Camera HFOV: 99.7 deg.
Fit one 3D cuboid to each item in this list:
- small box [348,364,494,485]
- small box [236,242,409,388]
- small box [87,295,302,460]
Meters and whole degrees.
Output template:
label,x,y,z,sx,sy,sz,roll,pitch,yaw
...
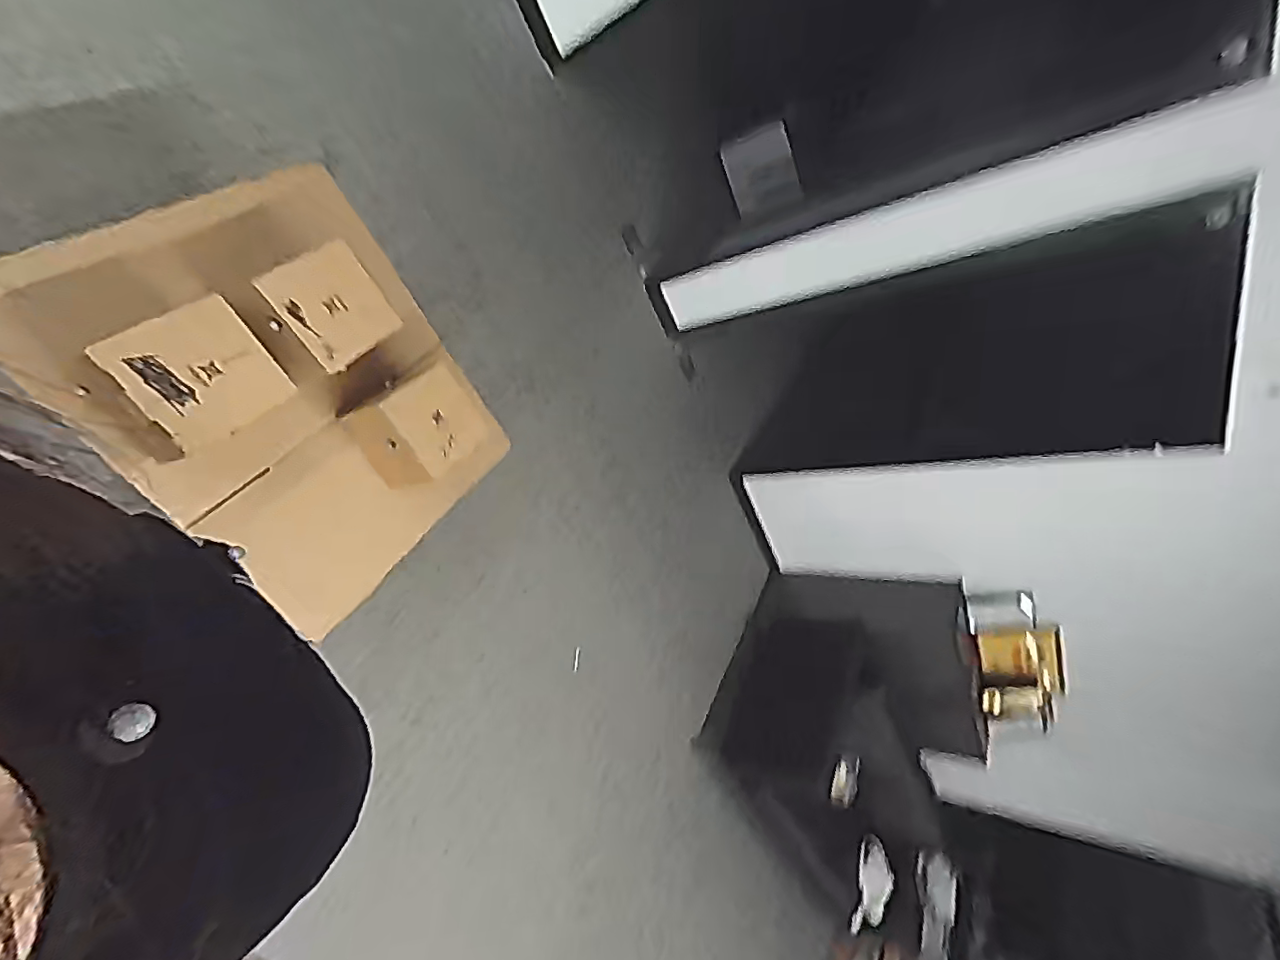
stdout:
label,x,y,z,sx,sy,sz,roll,pitch,yaw
small box,-0.436,-0.104,1.077,0.168,0.176,0.179,-51,124,-40
small box,-0.554,-0.281,0.941,0.168,0.176,0.179,60,44,-29
small box,-0.658,-0.144,0.799,0.179,0.176,0.168,-53,127,-40
